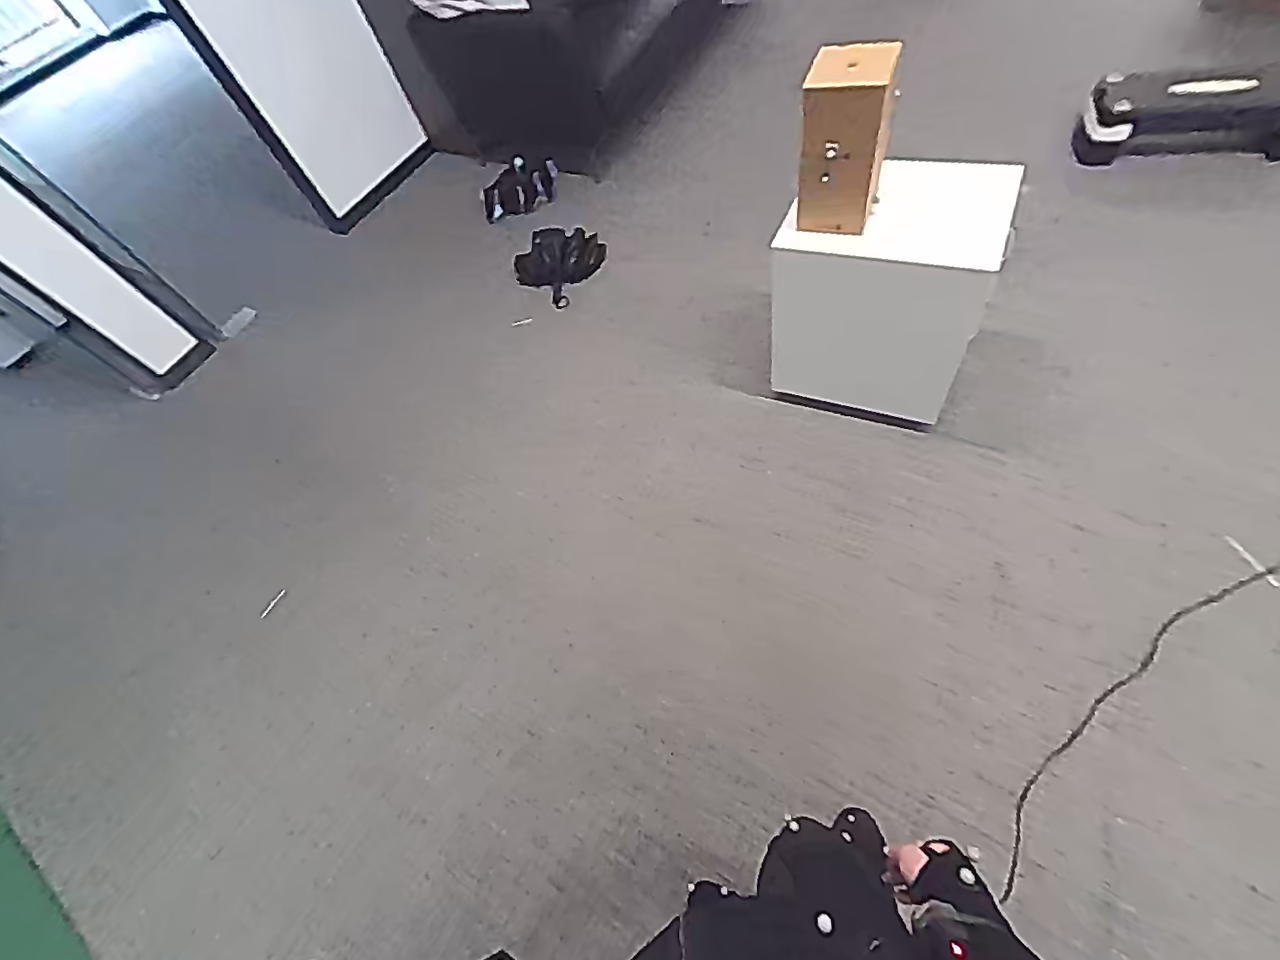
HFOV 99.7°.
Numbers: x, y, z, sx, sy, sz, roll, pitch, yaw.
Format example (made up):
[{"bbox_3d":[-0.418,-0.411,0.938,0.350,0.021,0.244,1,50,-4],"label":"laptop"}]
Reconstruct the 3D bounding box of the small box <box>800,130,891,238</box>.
[{"bbox_3d":[0.491,-0.721,1.312,0.168,0.176,0.179,15,63,22],"label":"small box"}]

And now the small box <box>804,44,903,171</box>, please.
[{"bbox_3d":[0.457,-0.805,1.177,0.168,0.176,0.179,12,63,22],"label":"small box"}]
